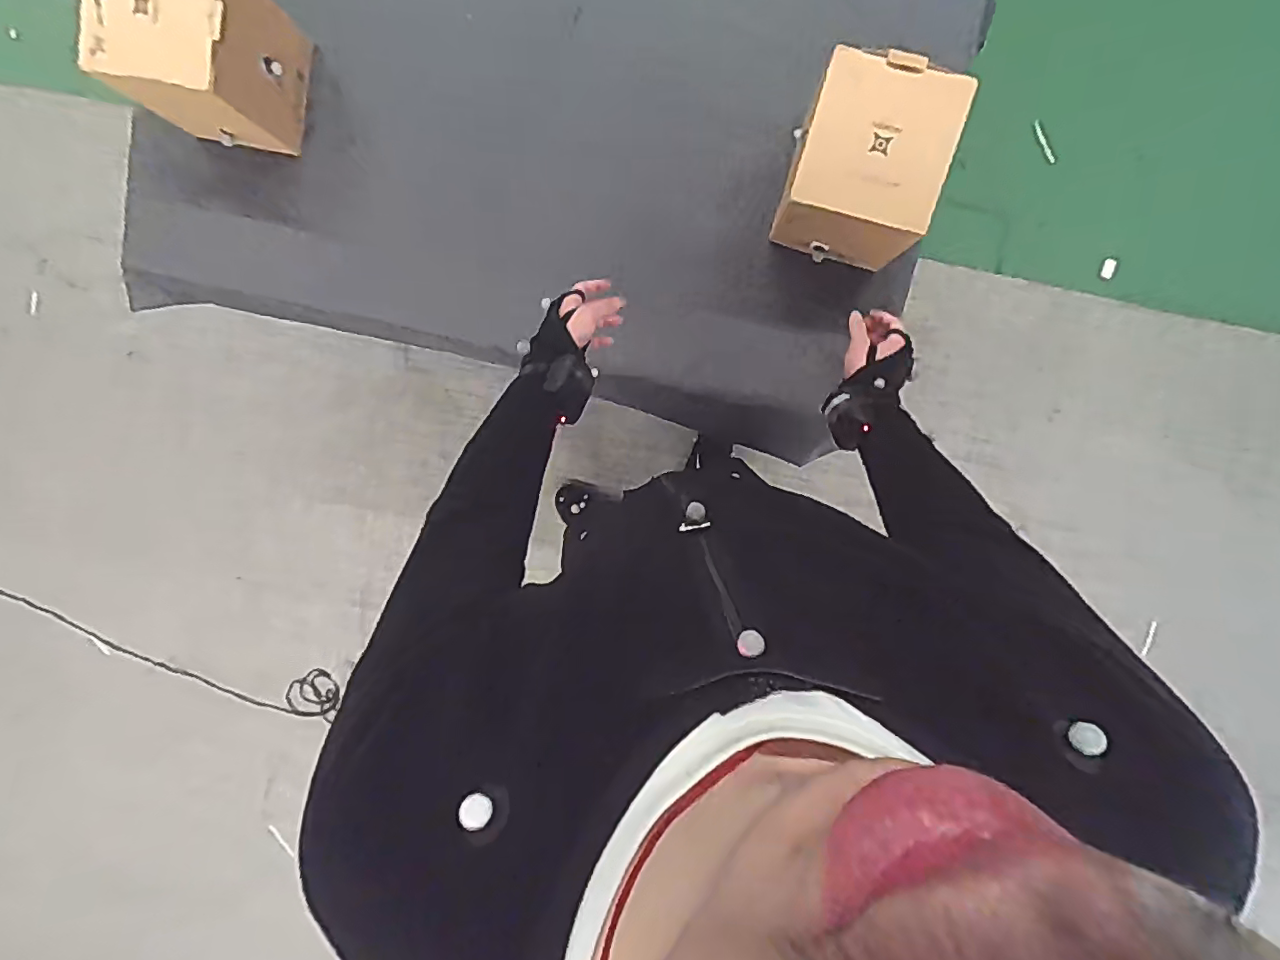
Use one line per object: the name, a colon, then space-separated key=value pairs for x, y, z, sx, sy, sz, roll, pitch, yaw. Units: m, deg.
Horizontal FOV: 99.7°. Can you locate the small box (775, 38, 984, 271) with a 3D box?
small box: x=0.282 y=-0.392 z=0.685 sx=0.168 sy=0.176 sz=0.179 roll=19 pitch=98 yaw=4

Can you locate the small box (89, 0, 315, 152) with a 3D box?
small box: x=-0.584 y=-0.582 z=0.742 sx=0.179 sy=0.176 sz=0.168 roll=12 pitch=97 yaw=1
